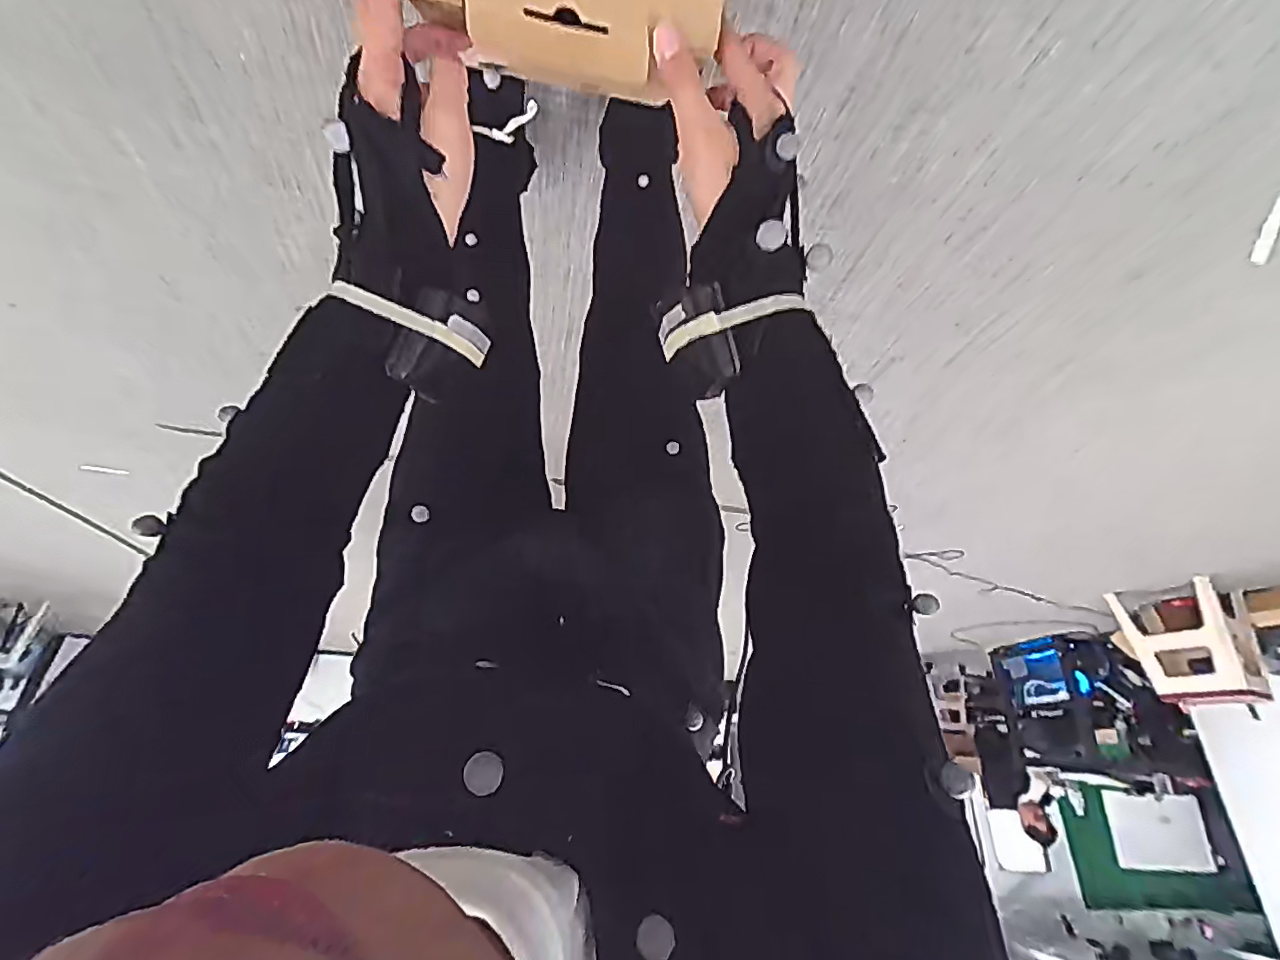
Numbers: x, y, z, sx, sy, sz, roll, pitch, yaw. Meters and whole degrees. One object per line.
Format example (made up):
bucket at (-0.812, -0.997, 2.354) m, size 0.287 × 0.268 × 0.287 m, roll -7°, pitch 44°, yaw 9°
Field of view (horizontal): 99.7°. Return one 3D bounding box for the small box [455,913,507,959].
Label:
small box at (-0.583, 1.711, 1.974) m, size 0.168 × 0.176 × 0.179 m, roll 6°, pitch 152°, yaw -8°

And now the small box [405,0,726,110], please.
small box at (-0.036, -0.342, 0.318) m, size 0.168 × 0.176 × 0.179 m, roll 4°, pitch 116°, yaw -11°
